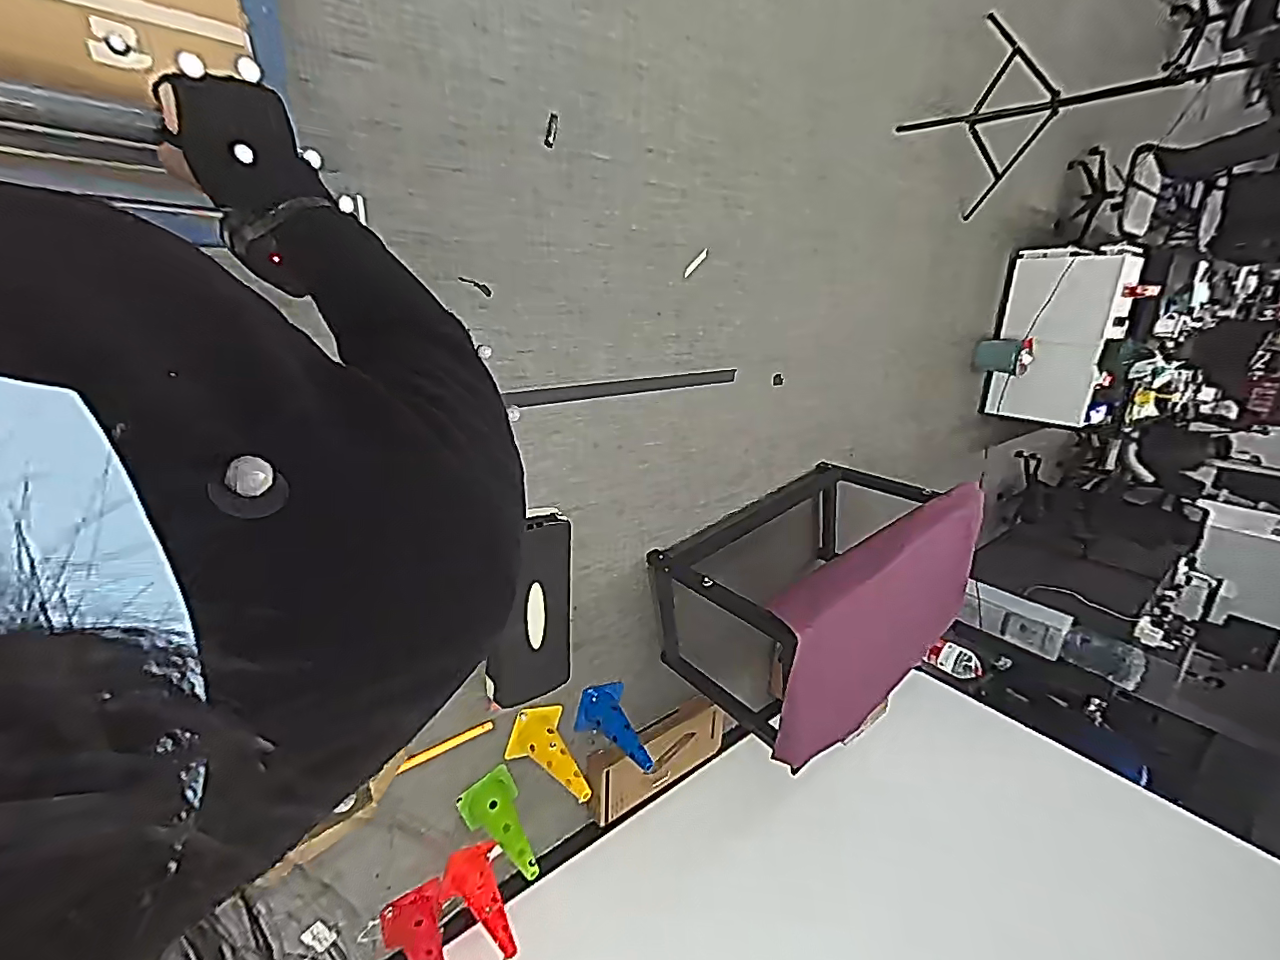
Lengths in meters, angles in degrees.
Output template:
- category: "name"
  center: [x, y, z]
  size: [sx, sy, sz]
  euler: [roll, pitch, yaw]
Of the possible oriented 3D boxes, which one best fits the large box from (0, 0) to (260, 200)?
- category: "large box"
  center: [-0.793, -0.592, 0.727]
  size: [0.408, 0.320, 0.320]
  euler: [-11, 112, -37]
